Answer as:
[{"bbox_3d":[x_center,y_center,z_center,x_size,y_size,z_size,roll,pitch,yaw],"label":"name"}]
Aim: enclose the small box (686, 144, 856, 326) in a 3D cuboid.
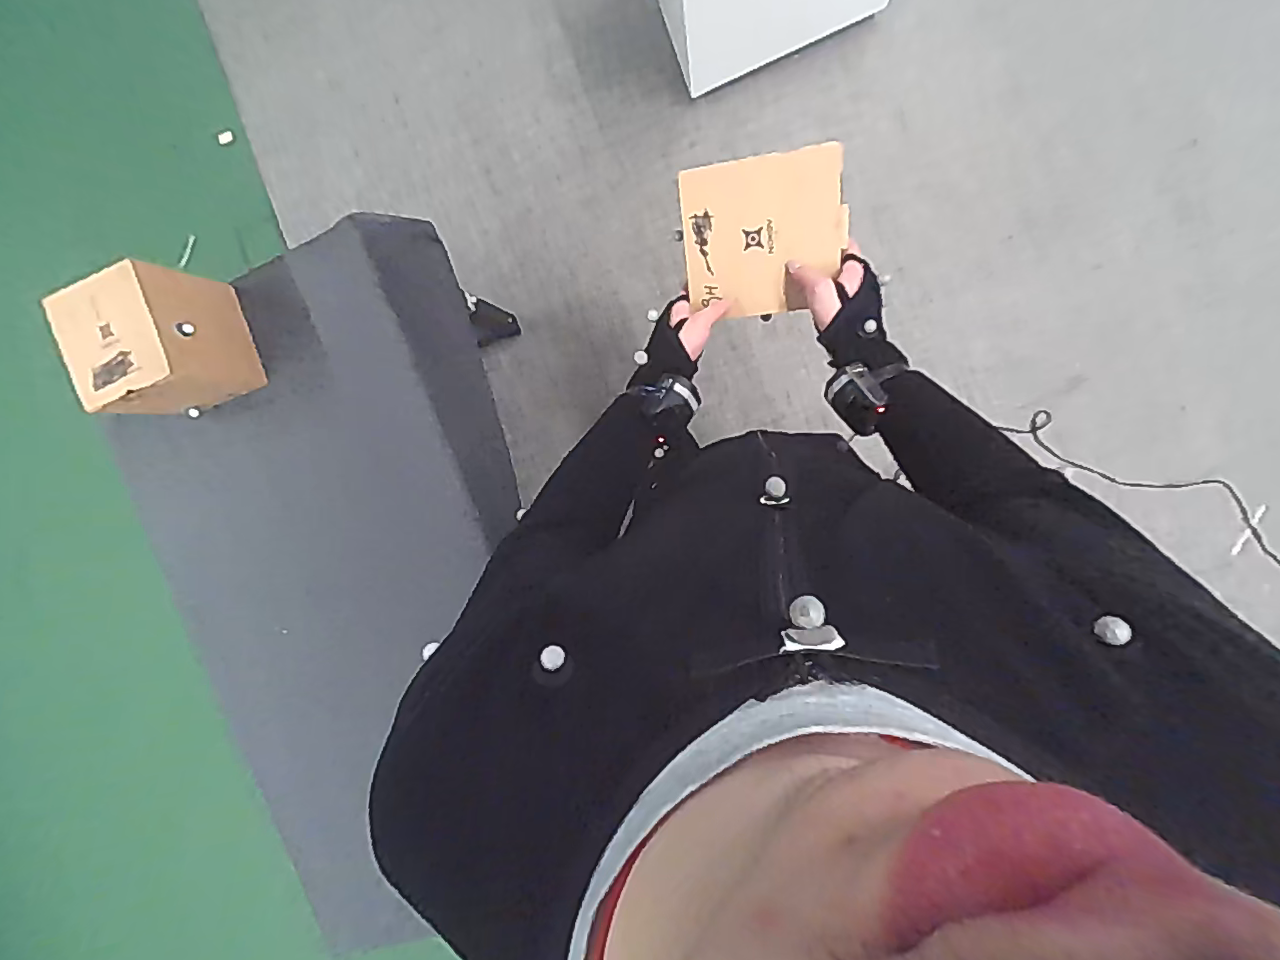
[{"bbox_3d":[0.154,-0.288,0.663,0.179,0.176,0.168,-4,109,11],"label":"small box"}]
